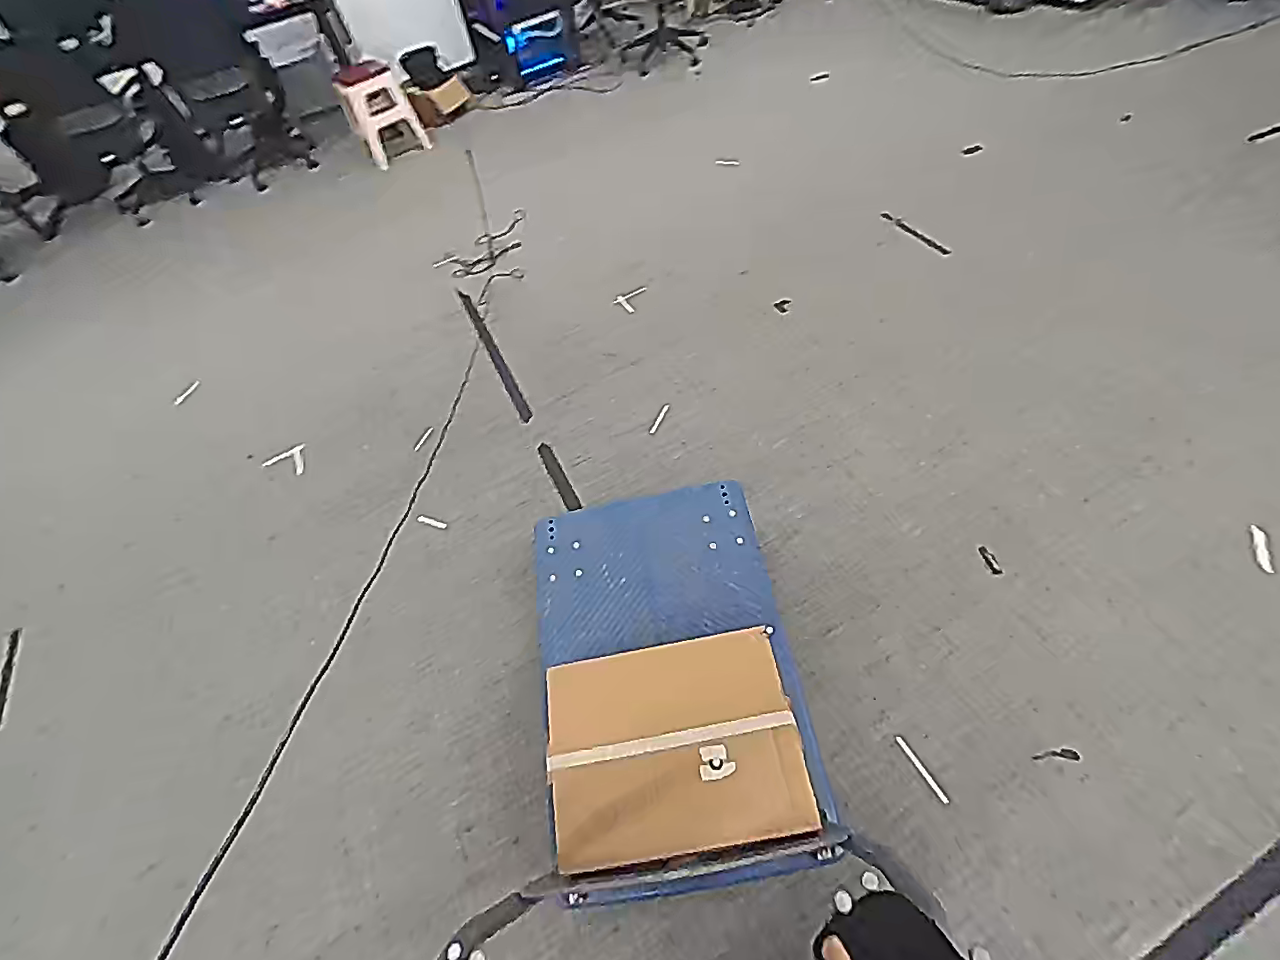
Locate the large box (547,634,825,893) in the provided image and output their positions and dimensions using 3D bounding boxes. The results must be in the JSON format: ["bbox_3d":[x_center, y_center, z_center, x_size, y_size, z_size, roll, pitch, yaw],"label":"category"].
[{"bbox_3d":[0.071,0.517,0.991,0.408,0.320,0.320,-12,57,1],"label":"large box"}]
